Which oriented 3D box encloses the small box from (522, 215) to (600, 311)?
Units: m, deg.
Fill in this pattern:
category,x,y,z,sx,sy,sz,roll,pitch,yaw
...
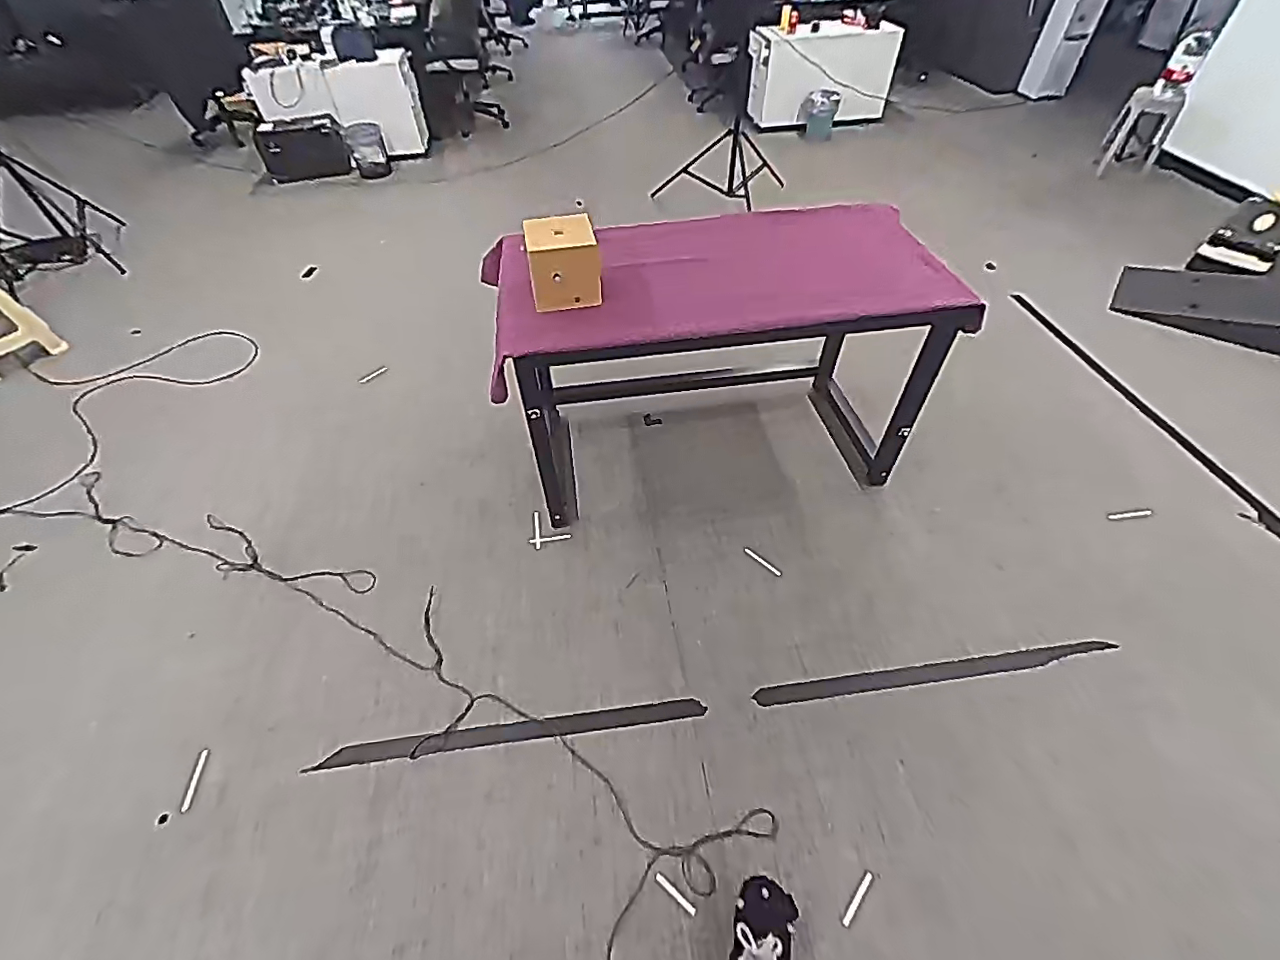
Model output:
category,x,y,z,sx,sy,sz,roll,pitch,yaw
small box,-0.200,-0.548,1.383,0.168,0.176,0.179,-10,49,-7
